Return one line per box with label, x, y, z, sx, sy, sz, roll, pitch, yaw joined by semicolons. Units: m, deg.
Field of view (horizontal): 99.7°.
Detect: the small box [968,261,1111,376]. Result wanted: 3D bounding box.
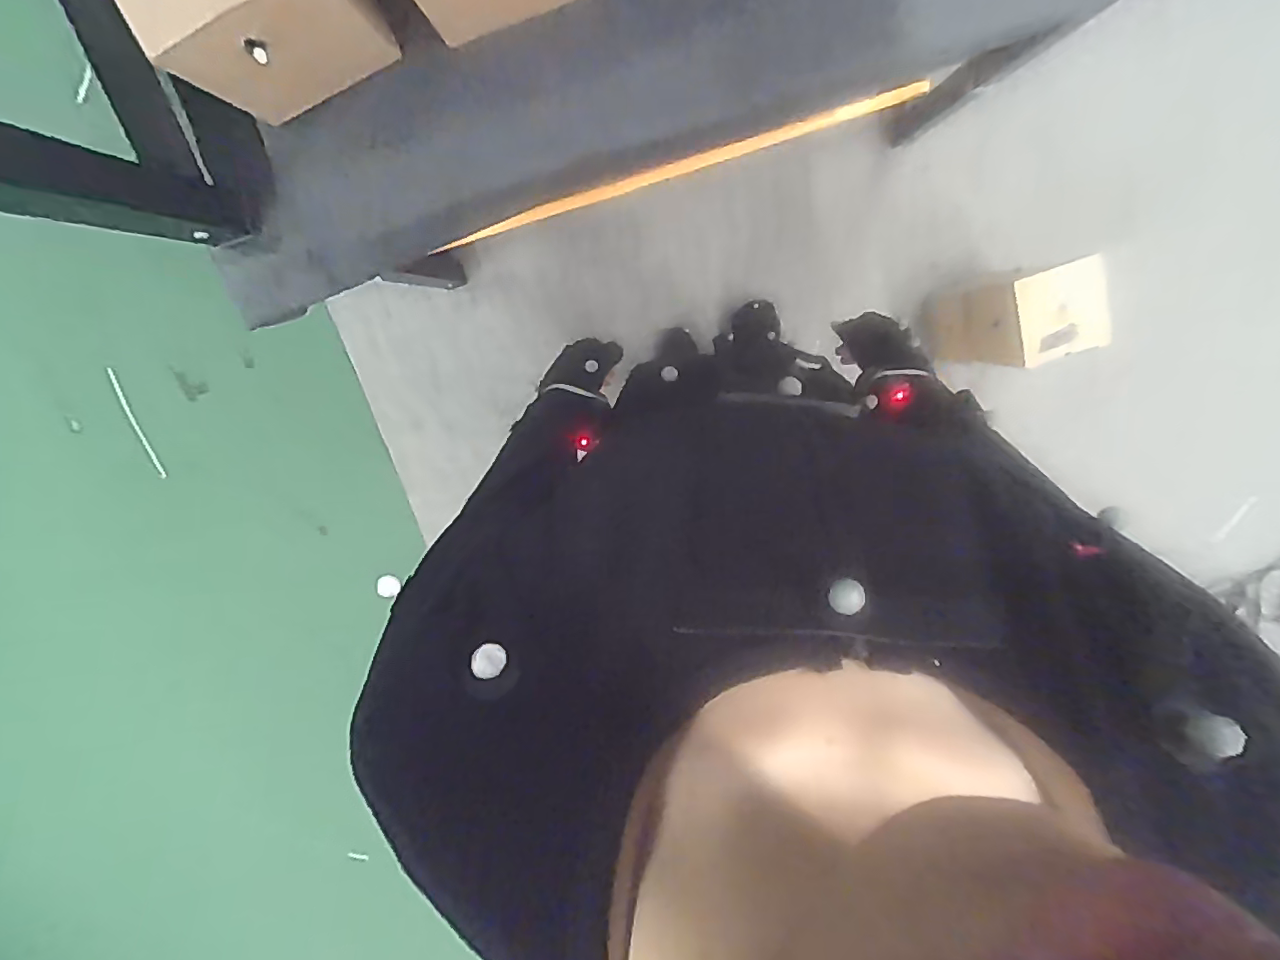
small box;0.812;-0.329;1.112;0.168;0.176;0.179;-17;103;7
